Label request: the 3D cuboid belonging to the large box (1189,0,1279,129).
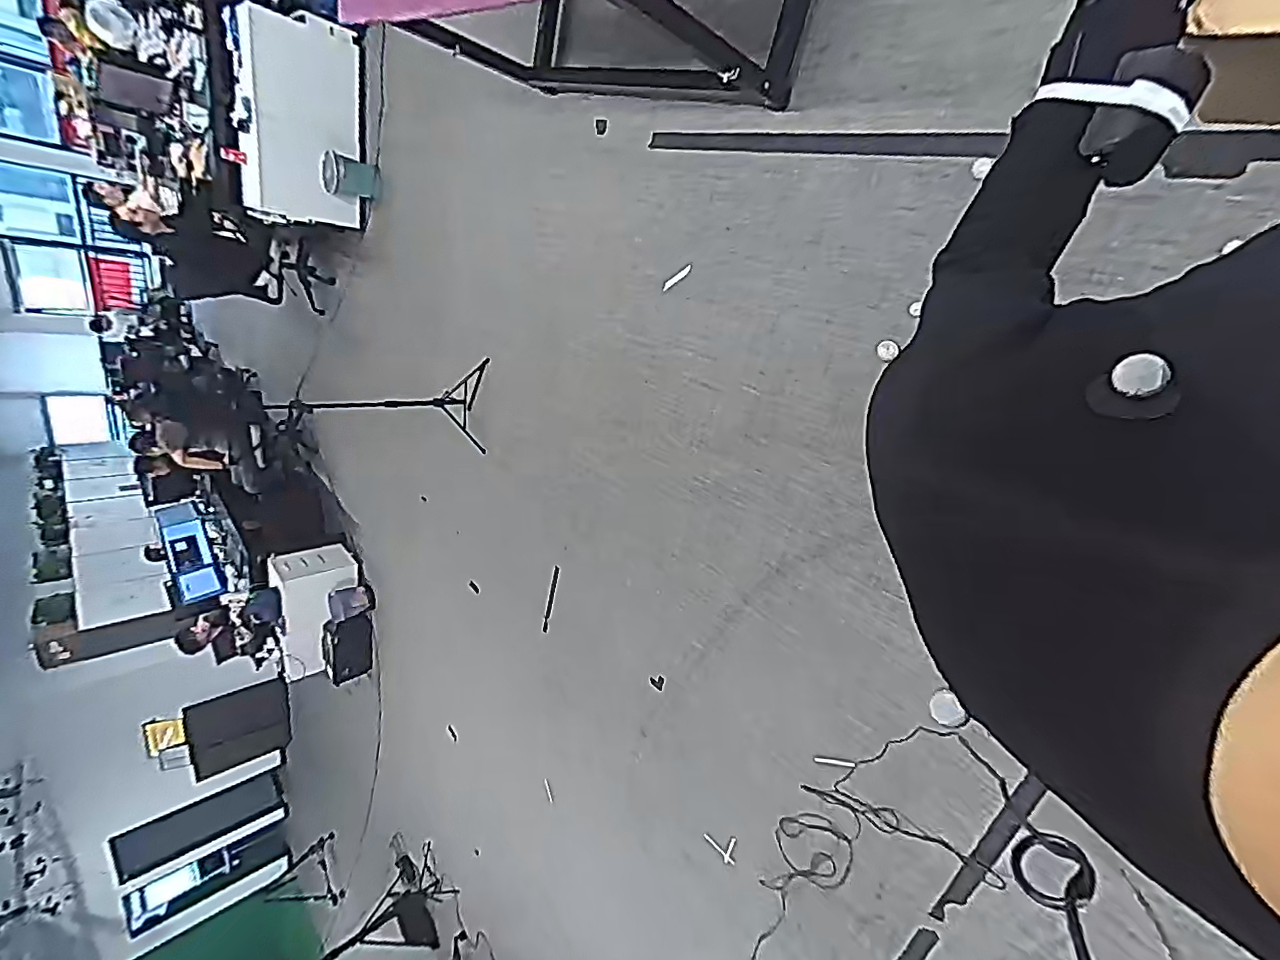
[{"bbox_3d":[0.622,-0.383,0.273,0.408,0.320,0.320,31,126,36],"label":"large box"}]
